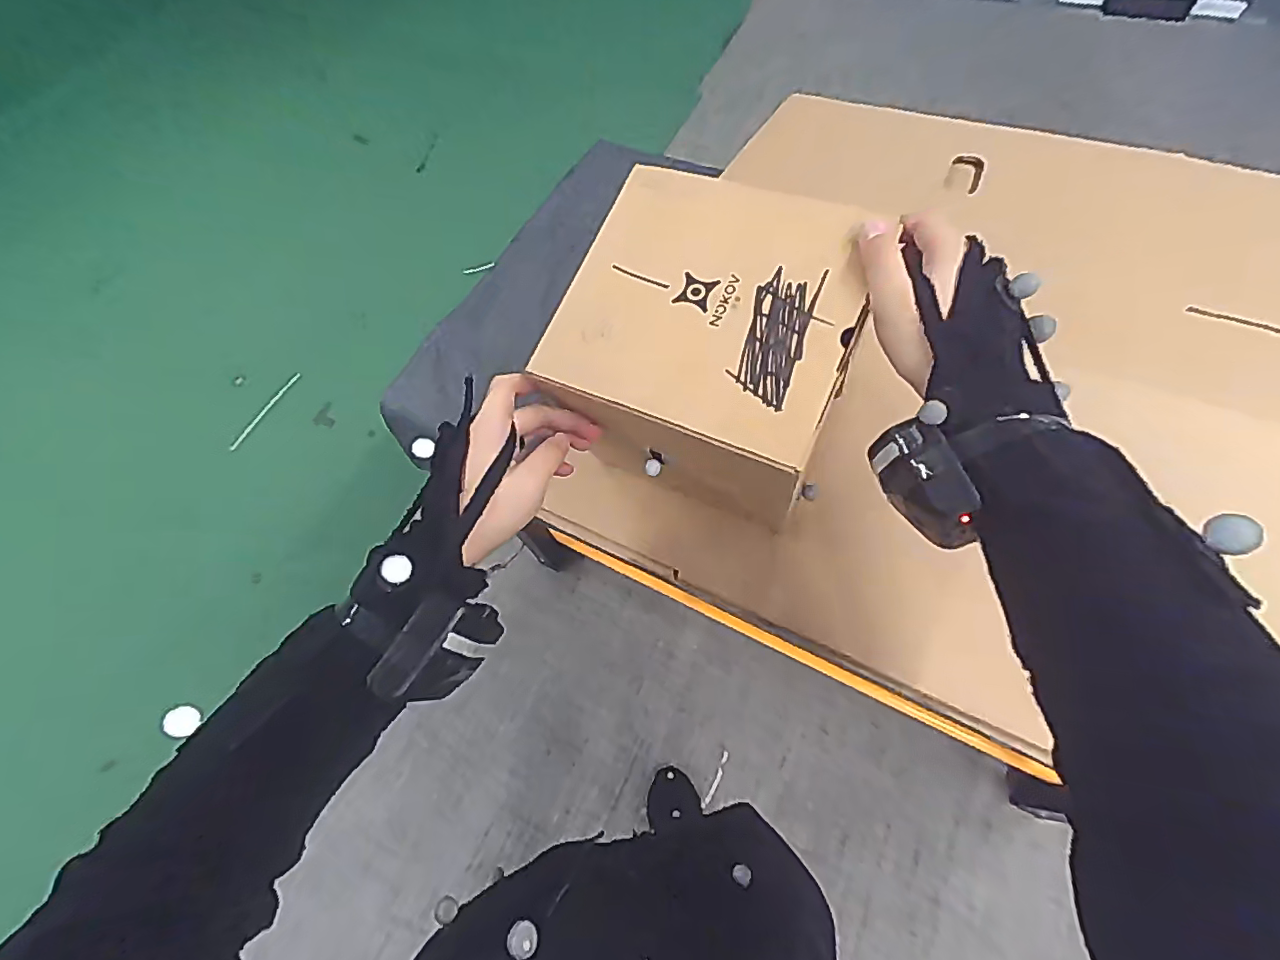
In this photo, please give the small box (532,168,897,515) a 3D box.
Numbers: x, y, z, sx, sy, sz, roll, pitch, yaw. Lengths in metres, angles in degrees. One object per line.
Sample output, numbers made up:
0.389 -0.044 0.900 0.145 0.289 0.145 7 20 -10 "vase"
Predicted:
0.057 -0.085 0.402 0.179 0.176 0.168 22 78 17 "small box"
